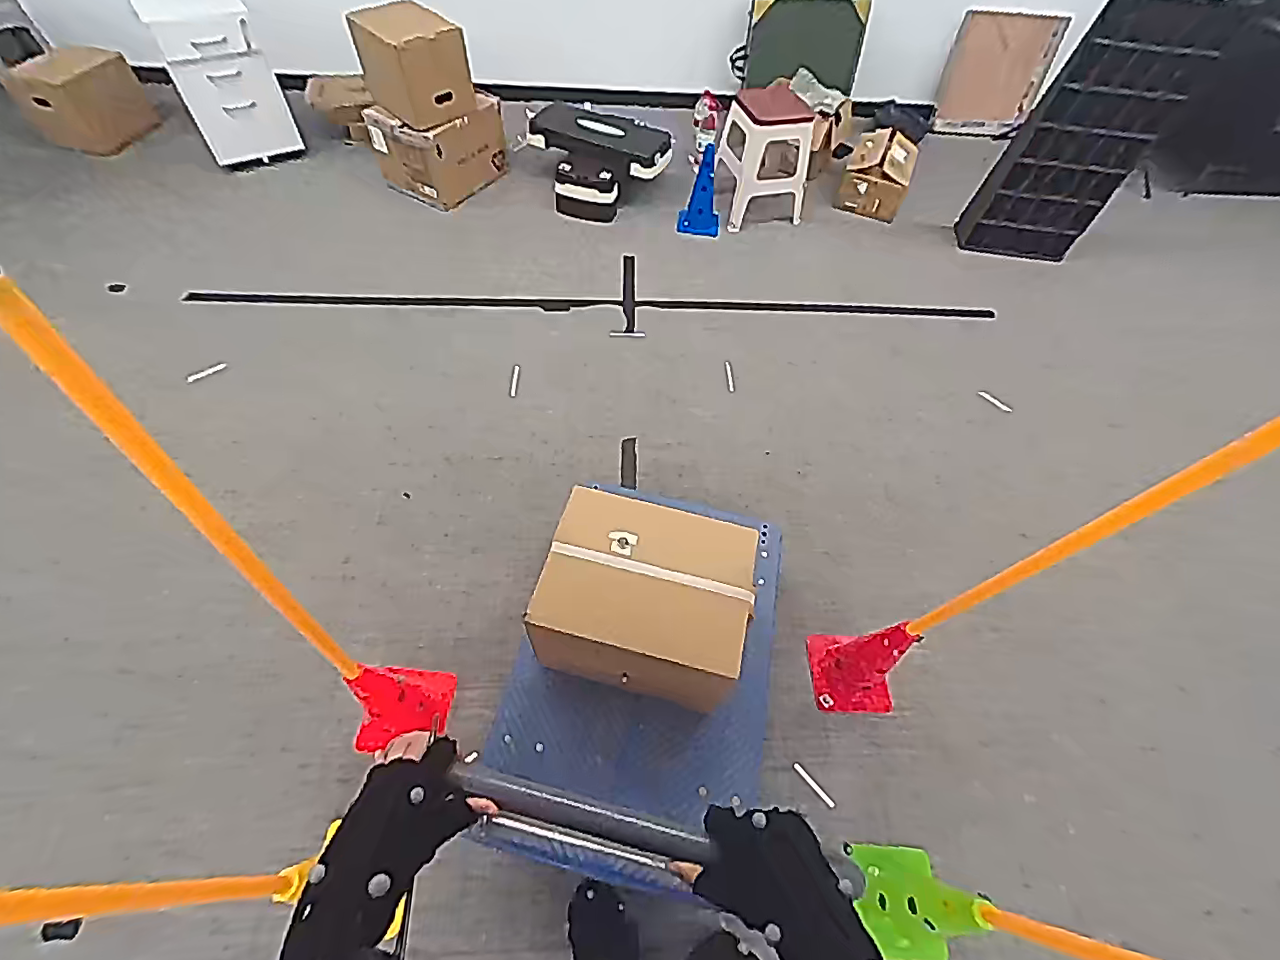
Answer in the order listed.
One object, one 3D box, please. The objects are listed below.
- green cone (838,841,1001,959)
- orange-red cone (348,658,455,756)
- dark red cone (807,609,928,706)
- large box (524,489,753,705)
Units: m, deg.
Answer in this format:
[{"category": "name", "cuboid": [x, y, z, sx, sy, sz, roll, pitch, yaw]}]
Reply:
[{"category": "green cone", "cuboid": [0.552, 0.809, 1.031, 0.202, 0.368, 0.200, 5, 55, -2]}, {"category": "orange-red cone", "cuboid": [-0.562, 0.461, 1.190, 0.198, 0.360, 0.199, 8, 54, 0]}, {"category": "dark red cone", "cuboid": [0.566, 0.400, 1.291, 0.201, 0.394, 0.202, 2, 56, -5]}, {"category": "large box", "cuboid": [0.006, 0.265, 1.188, 0.408, 0.320, 0.320, 14, 56, 6]}]
